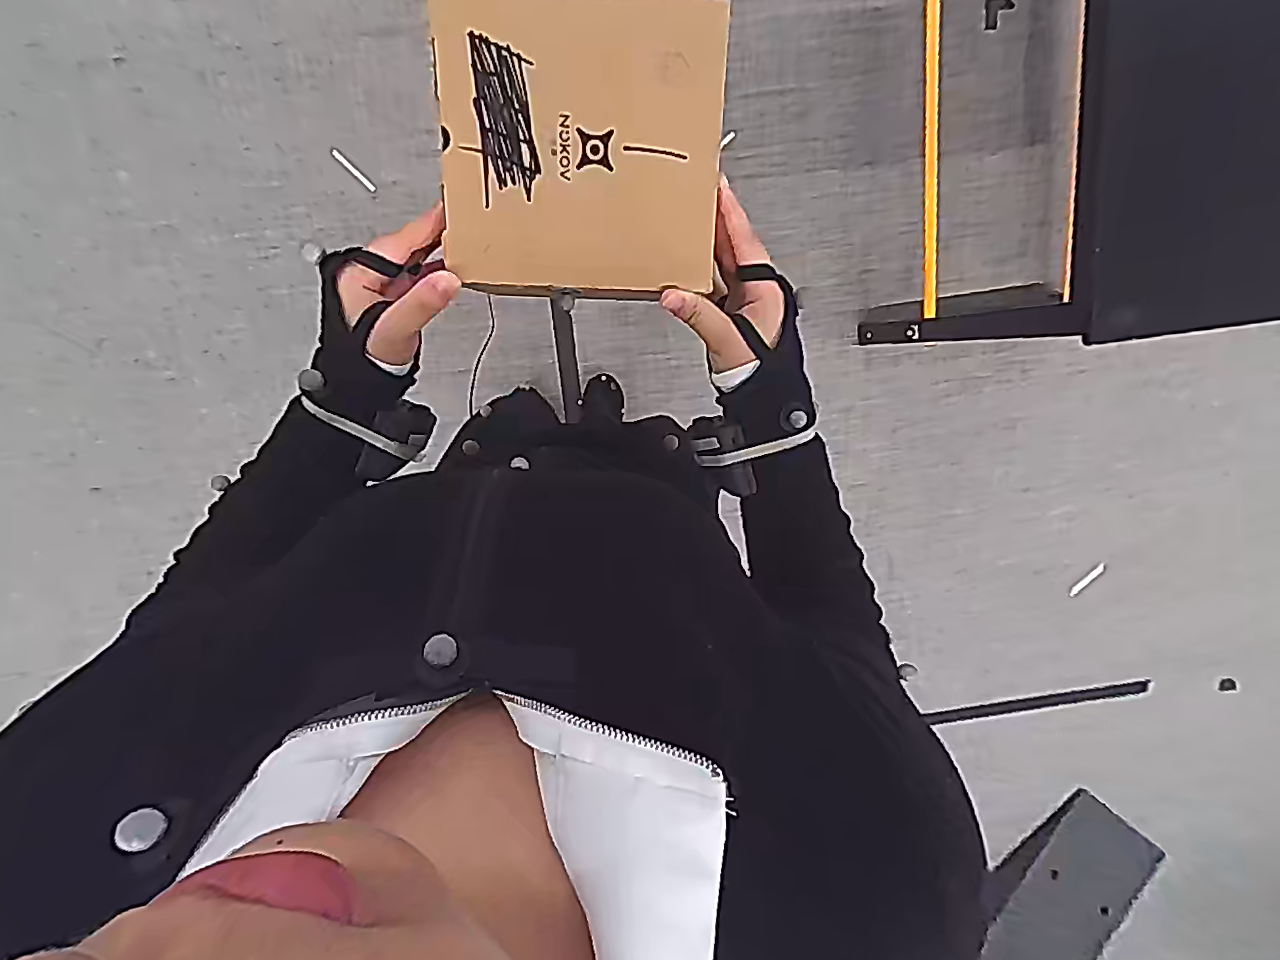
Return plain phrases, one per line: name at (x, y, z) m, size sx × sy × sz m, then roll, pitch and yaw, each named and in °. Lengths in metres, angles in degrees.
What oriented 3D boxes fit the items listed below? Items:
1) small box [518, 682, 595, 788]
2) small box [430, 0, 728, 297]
small box at (-0.207, 0.646, 1.384) m, size 0.168 × 0.176 × 0.179 m, roll -6°, pitch 103°, yaw -2°
small box at (-0.043, -0.232, 0.411) m, size 0.179 × 0.176 × 0.168 m, roll 1°, pitch 106°, yaw -5°
